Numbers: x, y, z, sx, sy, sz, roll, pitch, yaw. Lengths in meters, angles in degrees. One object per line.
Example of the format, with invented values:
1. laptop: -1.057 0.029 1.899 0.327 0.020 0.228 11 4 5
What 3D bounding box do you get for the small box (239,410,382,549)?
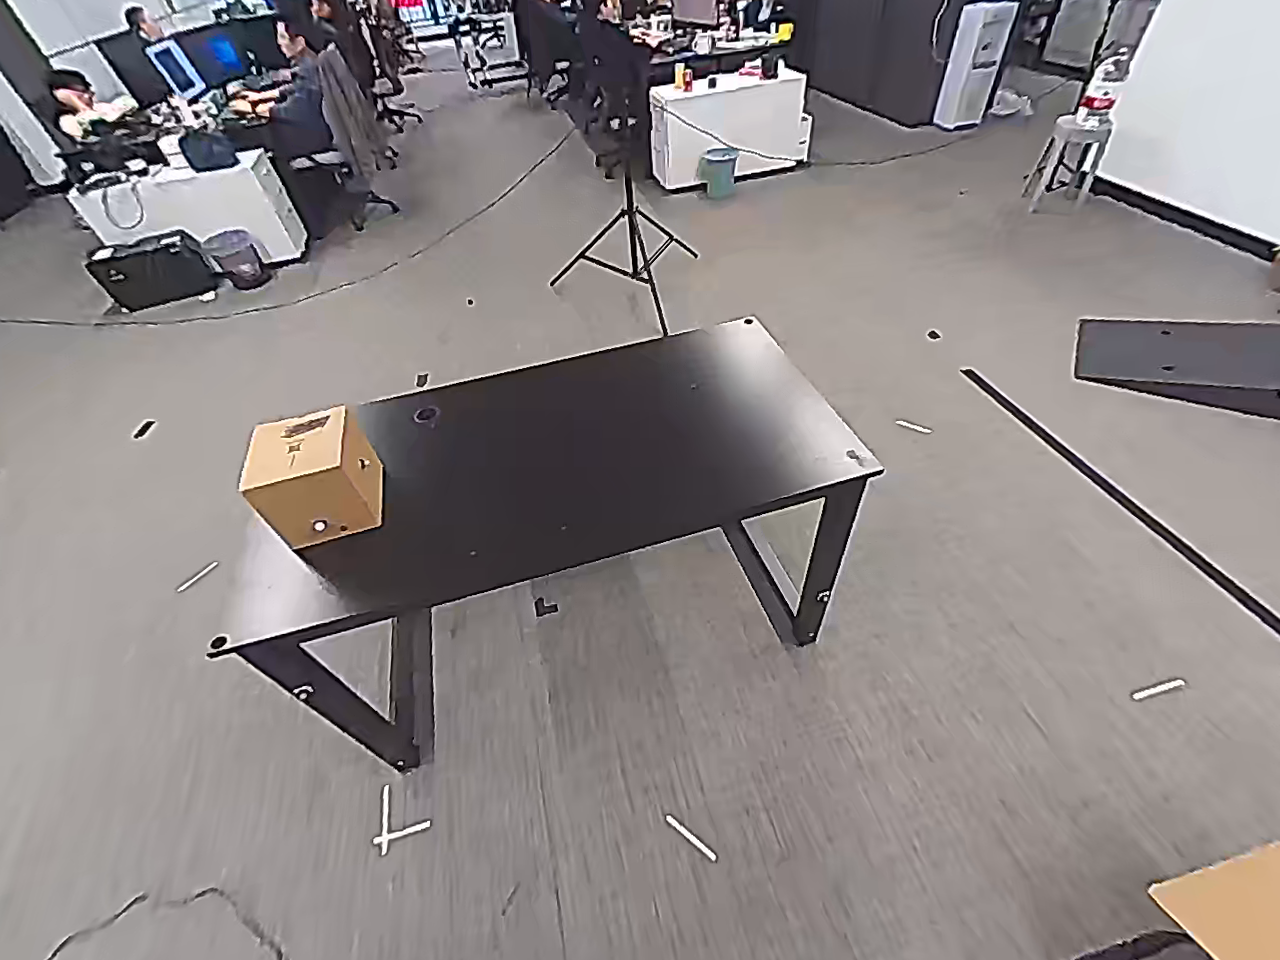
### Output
1. small box: -0.603 0.000 1.015 0.168 0.176 0.179 -16 48 -9
